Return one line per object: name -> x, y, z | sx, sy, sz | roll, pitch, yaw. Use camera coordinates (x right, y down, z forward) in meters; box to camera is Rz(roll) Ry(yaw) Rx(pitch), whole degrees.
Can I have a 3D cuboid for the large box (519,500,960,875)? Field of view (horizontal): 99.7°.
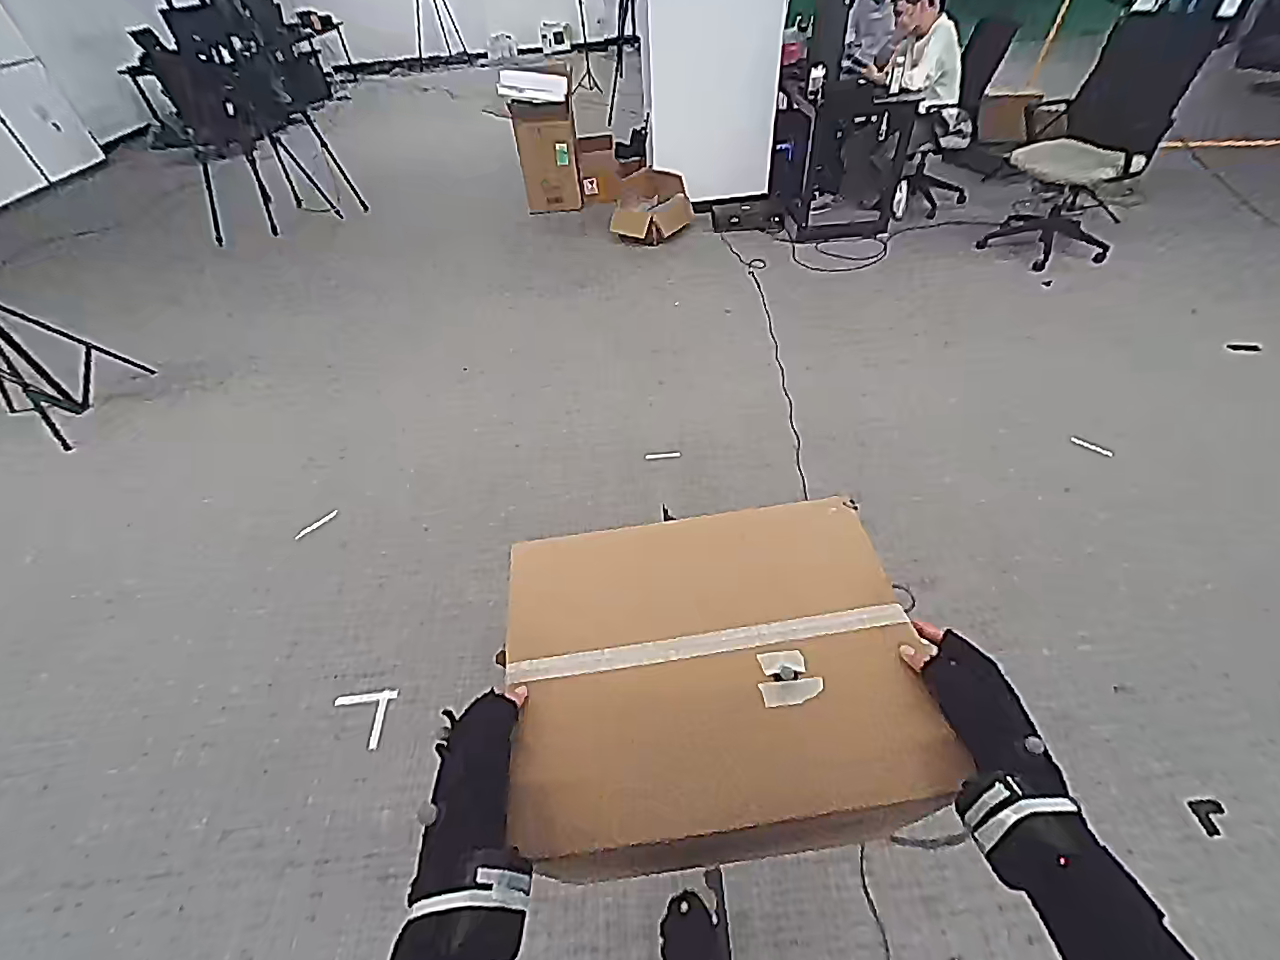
large box -> 0.079, 0.265, 0.679 | 0.408, 0.320, 0.320 | -8, 51, -2
